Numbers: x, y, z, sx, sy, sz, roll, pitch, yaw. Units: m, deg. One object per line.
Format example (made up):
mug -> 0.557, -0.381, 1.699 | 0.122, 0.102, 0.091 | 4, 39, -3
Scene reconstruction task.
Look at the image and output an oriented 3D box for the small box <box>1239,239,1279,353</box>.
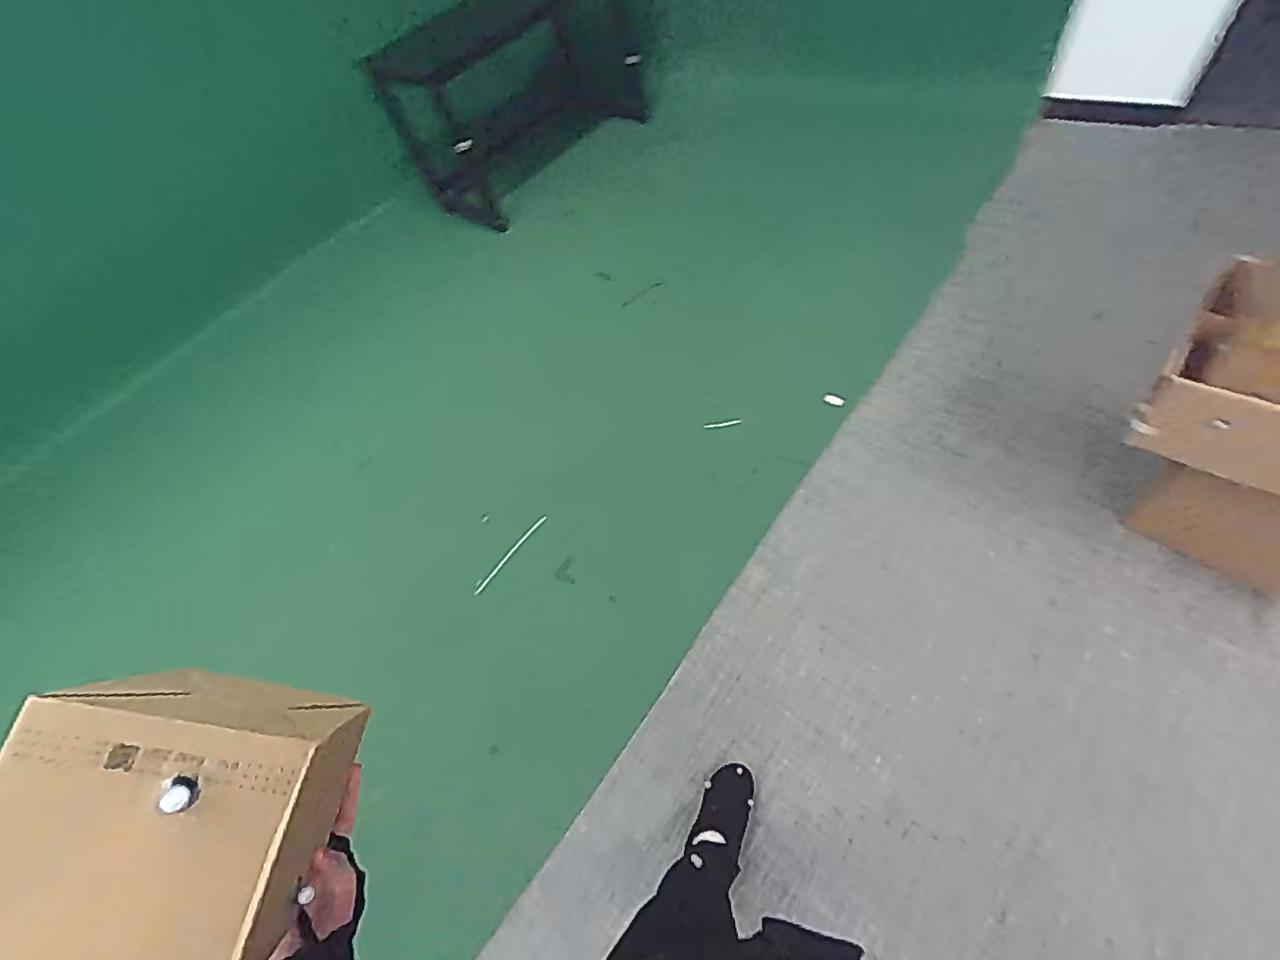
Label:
small box -> 1.160, -0.326, 0.898 | 0.168, 0.176, 0.179 | 12, 61, 23
